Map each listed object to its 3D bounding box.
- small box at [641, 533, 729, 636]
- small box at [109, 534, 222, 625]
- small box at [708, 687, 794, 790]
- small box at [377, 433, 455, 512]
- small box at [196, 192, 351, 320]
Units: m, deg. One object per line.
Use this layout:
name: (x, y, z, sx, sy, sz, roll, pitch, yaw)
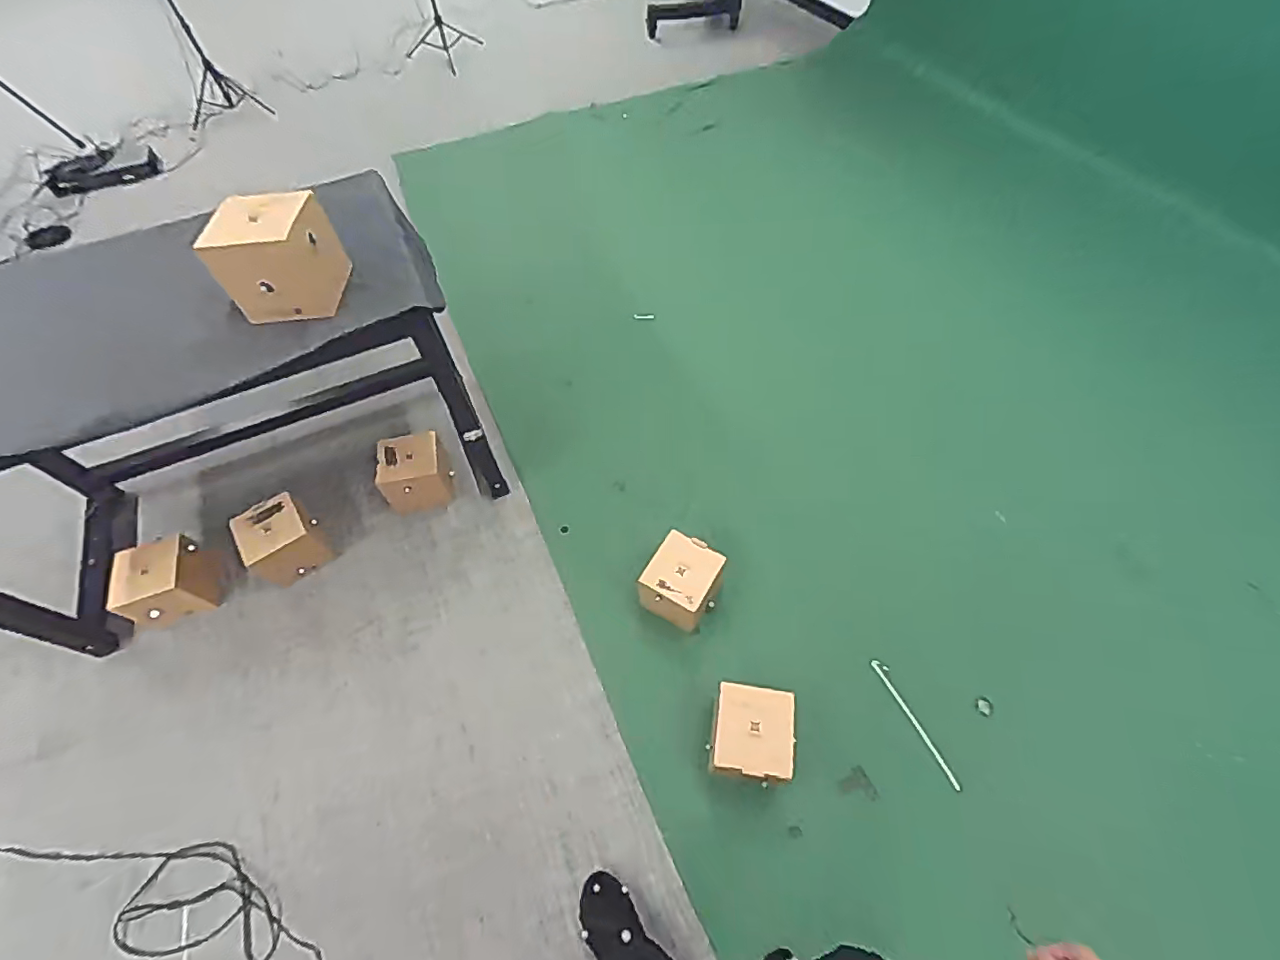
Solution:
small box: (0.114, 0.280, 1.433, 0.168, 0.176, 0.179, 28, 61, 19)
small box: (-1.298, 0.283, 1.492, 0.168, 0.176, 0.179, -19, 58, -9)
small box: (0.249, 0.590, 1.225, 0.168, 0.176, 0.179, 8, 57, 6)
small box: (-0.681, -0.018, 1.658, 0.179, 0.176, 0.168, -11, 58, -6)
small box: (-0.695, -0.427, 1.052, 0.168, 0.176, 0.179, -5, 54, -1)
